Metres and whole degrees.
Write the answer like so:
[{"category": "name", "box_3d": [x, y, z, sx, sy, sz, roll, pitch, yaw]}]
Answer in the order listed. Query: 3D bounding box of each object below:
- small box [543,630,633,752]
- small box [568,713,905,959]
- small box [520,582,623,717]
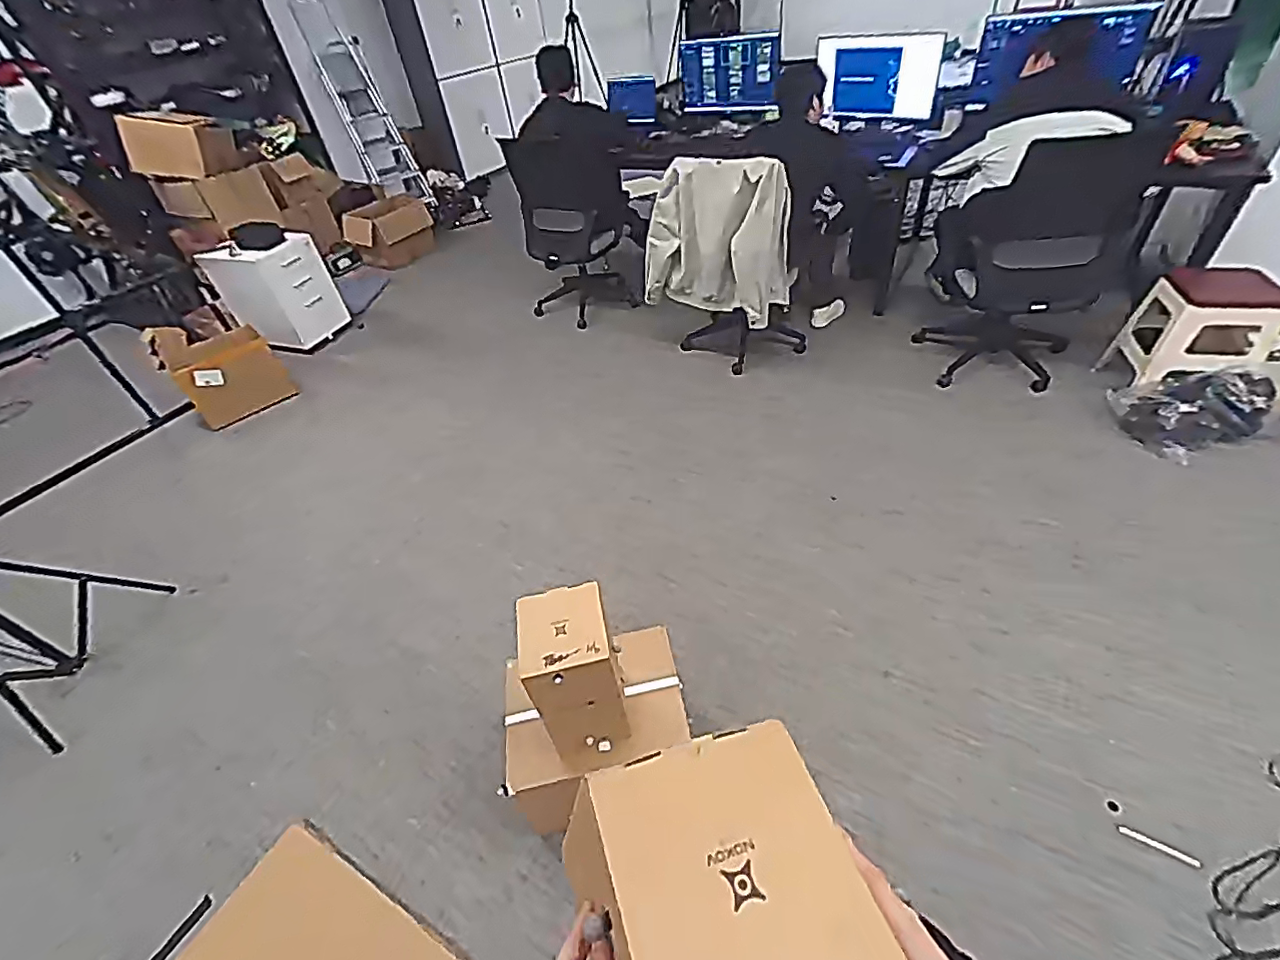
[{"category": "small box", "box_3d": [-0.117, 0.456, 1.175, 0.168, 0.176, 0.179, -13, 43, -4]}, {"category": "small box", "box_3d": [0.049, 0.312, 0.402, 0.168, 0.176, 0.179, -6, 43, -21]}, {"category": "small box", "box_3d": [-0.135, 0.334, 1.067, 0.168, 0.176, 0.179, -13, 42, -4]}]
